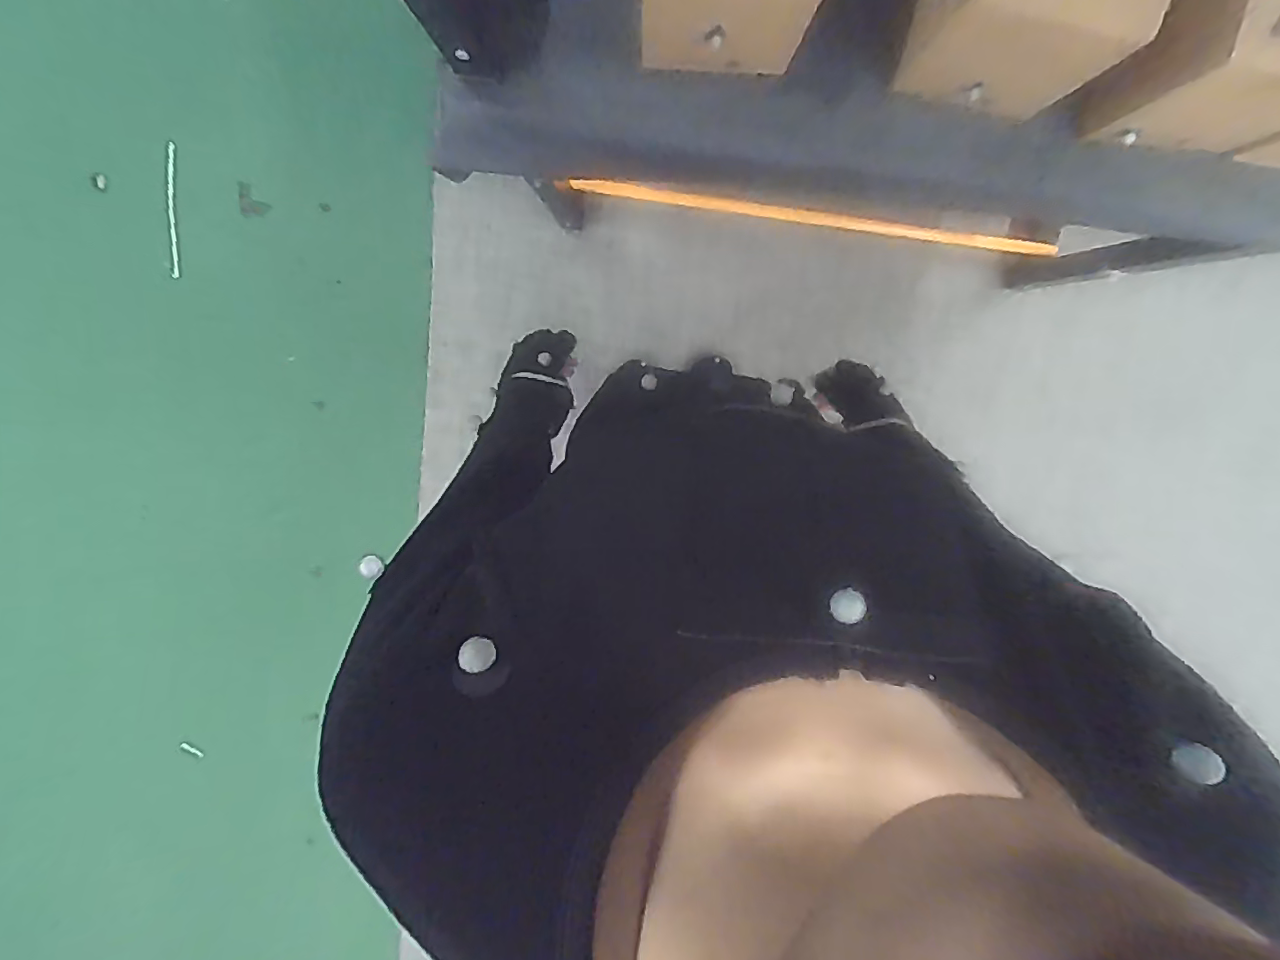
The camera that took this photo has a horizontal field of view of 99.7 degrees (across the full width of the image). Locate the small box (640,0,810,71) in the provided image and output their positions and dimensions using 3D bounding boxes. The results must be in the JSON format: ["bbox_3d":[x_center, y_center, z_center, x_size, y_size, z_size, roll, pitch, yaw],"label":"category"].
[{"bbox_3d":[0.086,-0.536,0.524,0.168,0.176,0.179,3,102,0],"label":"small box"}]
